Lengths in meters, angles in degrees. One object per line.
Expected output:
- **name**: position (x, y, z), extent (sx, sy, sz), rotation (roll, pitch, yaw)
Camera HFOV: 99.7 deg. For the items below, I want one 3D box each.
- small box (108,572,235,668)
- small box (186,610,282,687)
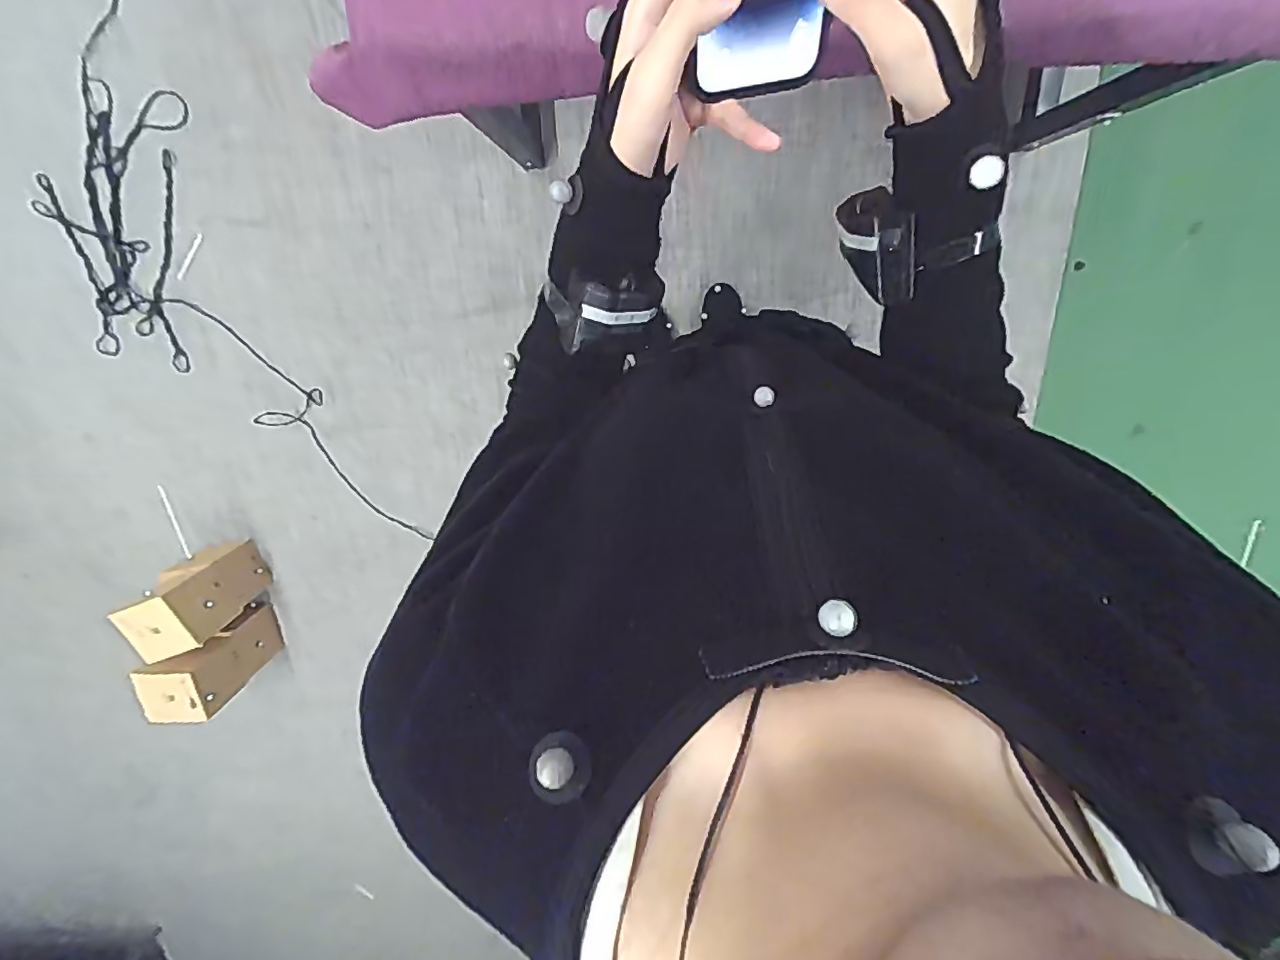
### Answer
- **small box**: position (-1.256, 0.375, 1.472), extent (0.179, 0.176, 0.168), rotation (-19, 107, 9)
- **small box**: position (-1.271, 0.520, 1.694), extent (0.168, 0.176, 0.179), rotation (-2, 109, 4)
